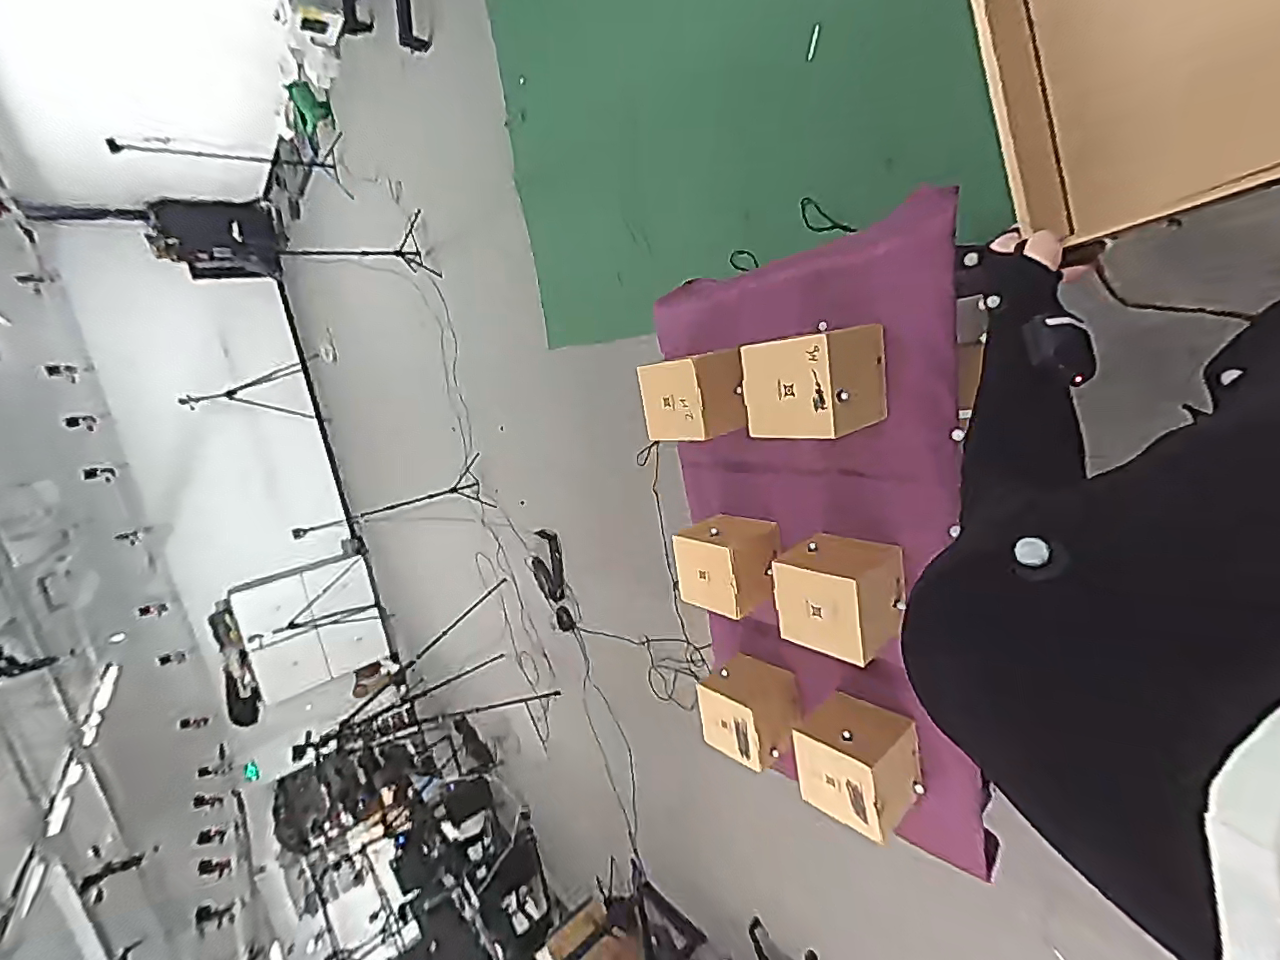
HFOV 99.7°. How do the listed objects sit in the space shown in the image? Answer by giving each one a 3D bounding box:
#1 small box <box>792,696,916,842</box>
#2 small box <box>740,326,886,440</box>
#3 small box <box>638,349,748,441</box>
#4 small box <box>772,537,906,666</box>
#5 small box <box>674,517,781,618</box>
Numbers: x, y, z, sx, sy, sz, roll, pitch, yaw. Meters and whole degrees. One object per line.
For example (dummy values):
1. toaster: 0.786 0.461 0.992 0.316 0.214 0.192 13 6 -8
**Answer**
1. small box: 0.438 0.567 1.093 0.179 0.176 0.168 3 107 53
2. small box: 0.304 -0.171 0.949 0.179 0.176 0.168 8 112 53
3. small box: 0.123 -0.183 1.171 0.179 0.176 0.168 5 111 50
4. small box: 0.377 0.216 1.025 0.179 0.176 0.168 7 111 51
5. small box: 0.203 0.190 1.236 0.179 0.176 0.168 6 109 49
